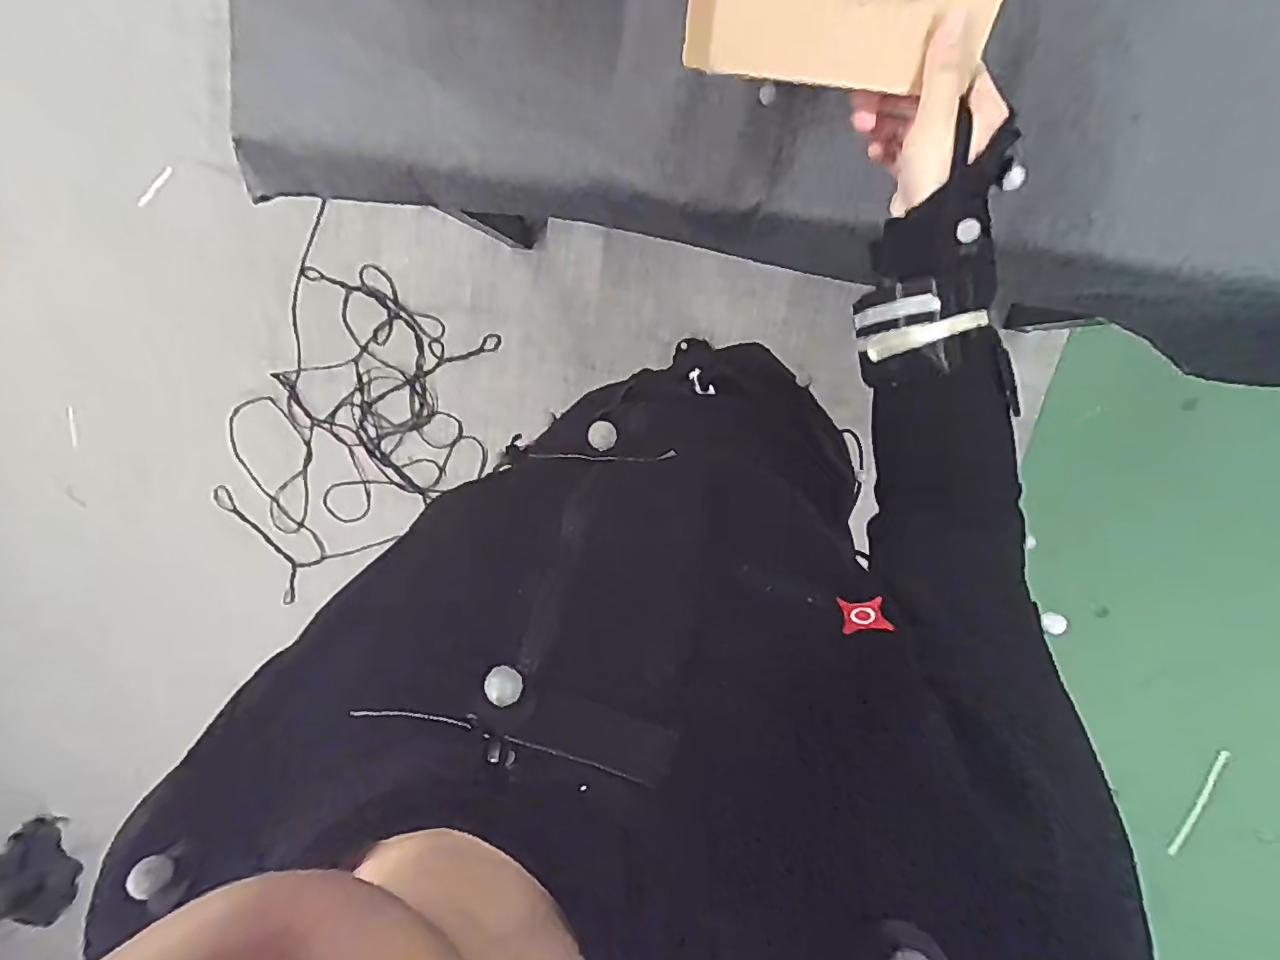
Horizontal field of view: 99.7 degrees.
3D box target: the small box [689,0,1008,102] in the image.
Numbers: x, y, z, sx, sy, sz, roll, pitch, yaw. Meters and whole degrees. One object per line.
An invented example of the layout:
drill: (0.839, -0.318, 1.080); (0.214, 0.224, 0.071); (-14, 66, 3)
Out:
small box: (0.128, -0.357, 0.339); (0.168, 0.176, 0.179); (3, 129, -4)
